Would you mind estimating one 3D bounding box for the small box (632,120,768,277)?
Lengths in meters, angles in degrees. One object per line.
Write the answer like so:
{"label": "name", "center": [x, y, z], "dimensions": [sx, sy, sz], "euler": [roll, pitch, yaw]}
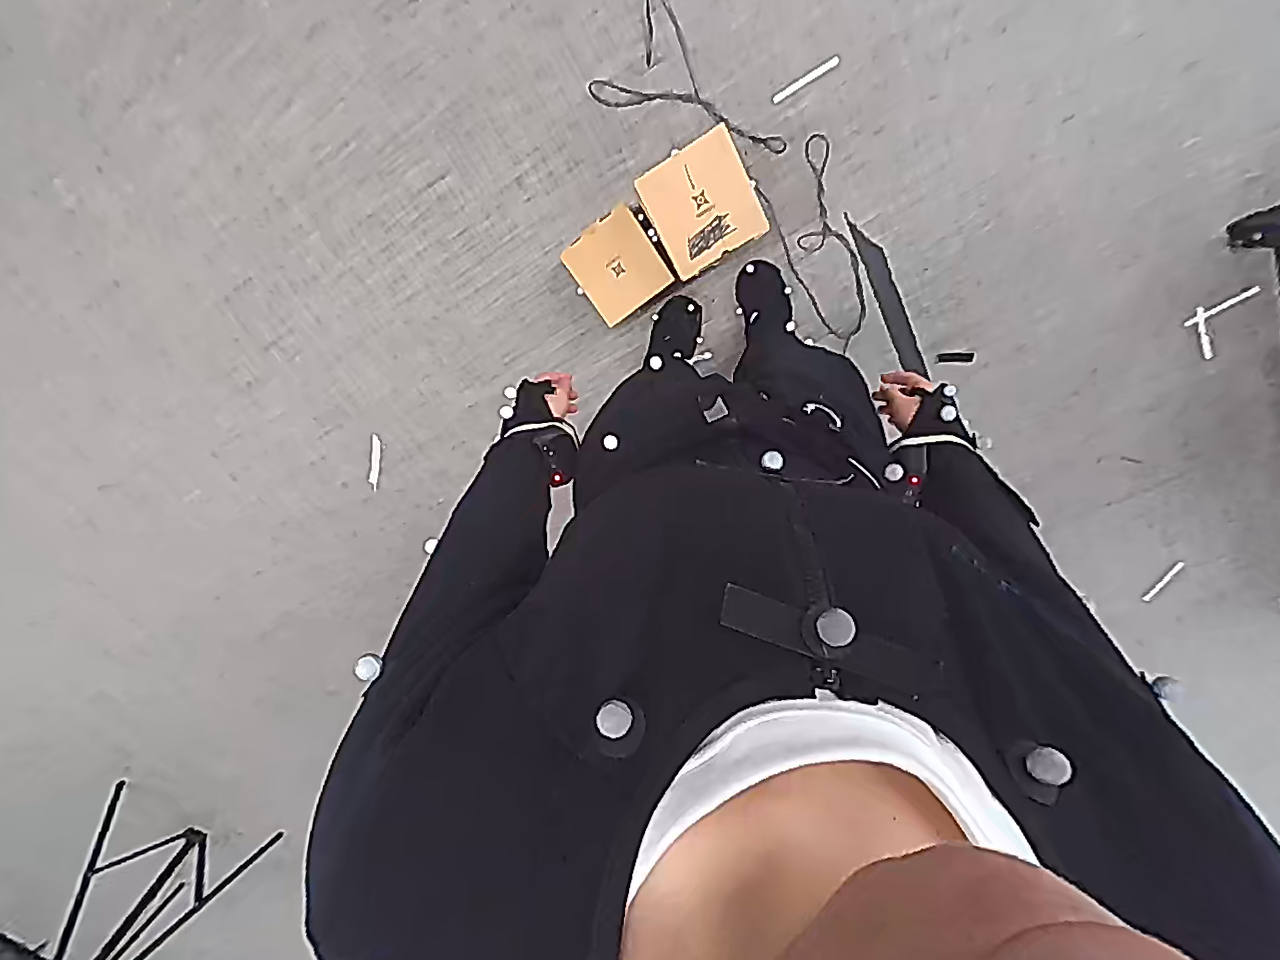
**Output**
{"label": "small box", "center": [0.102, -0.477, 0.937], "dimensions": [0.168, 0.176, 0.179], "euler": [-27, 110, 13]}
